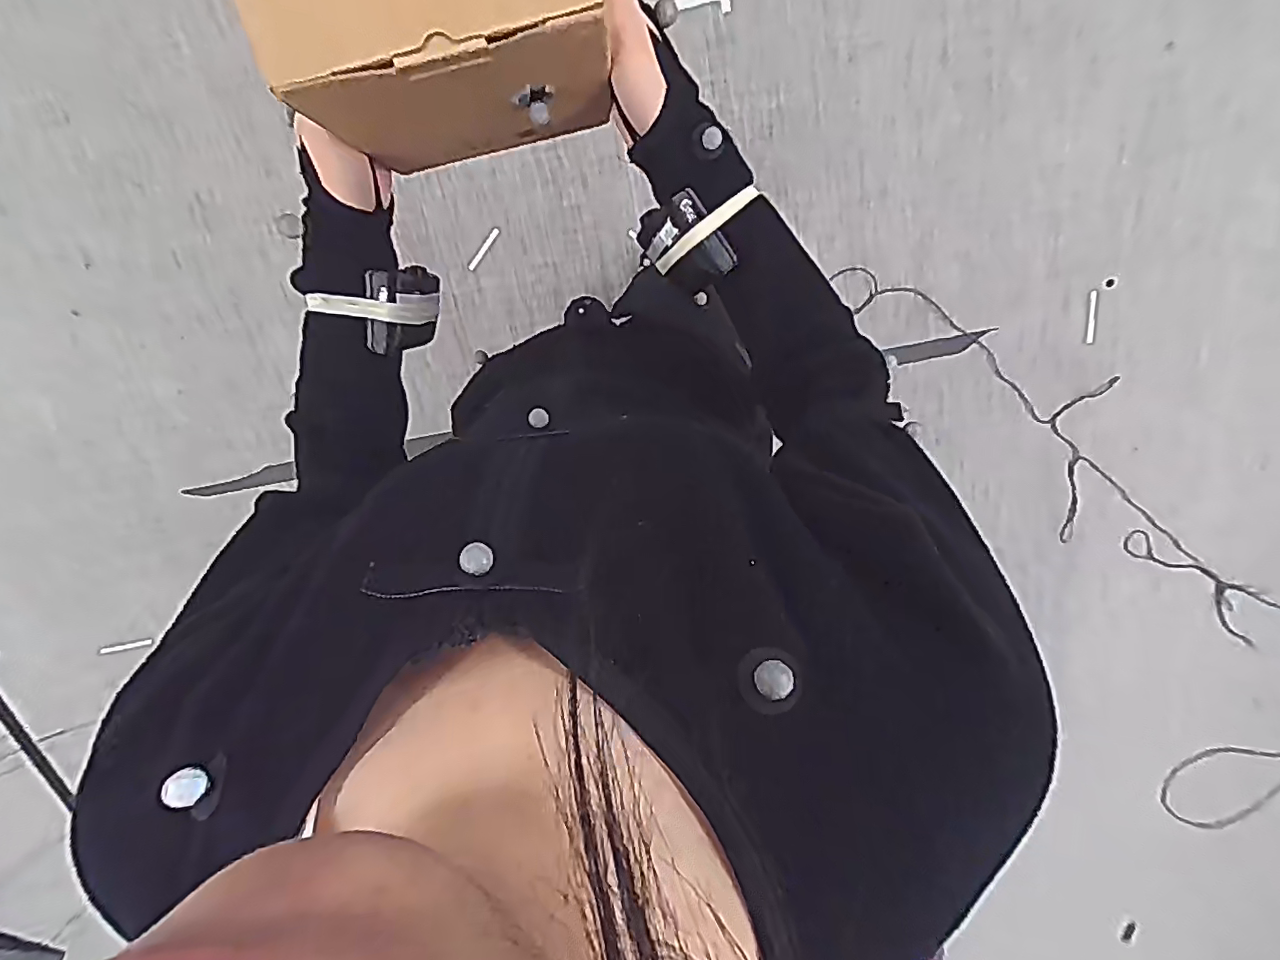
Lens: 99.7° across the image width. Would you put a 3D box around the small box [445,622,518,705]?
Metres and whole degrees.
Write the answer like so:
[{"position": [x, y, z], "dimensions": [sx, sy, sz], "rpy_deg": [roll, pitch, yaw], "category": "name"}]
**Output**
[{"position": [-0.458, 0.529, 1.573], "dimensions": [0.179, 0.176, 0.168], "rpy_deg": [4, 107, -7], "category": "small box"}]
